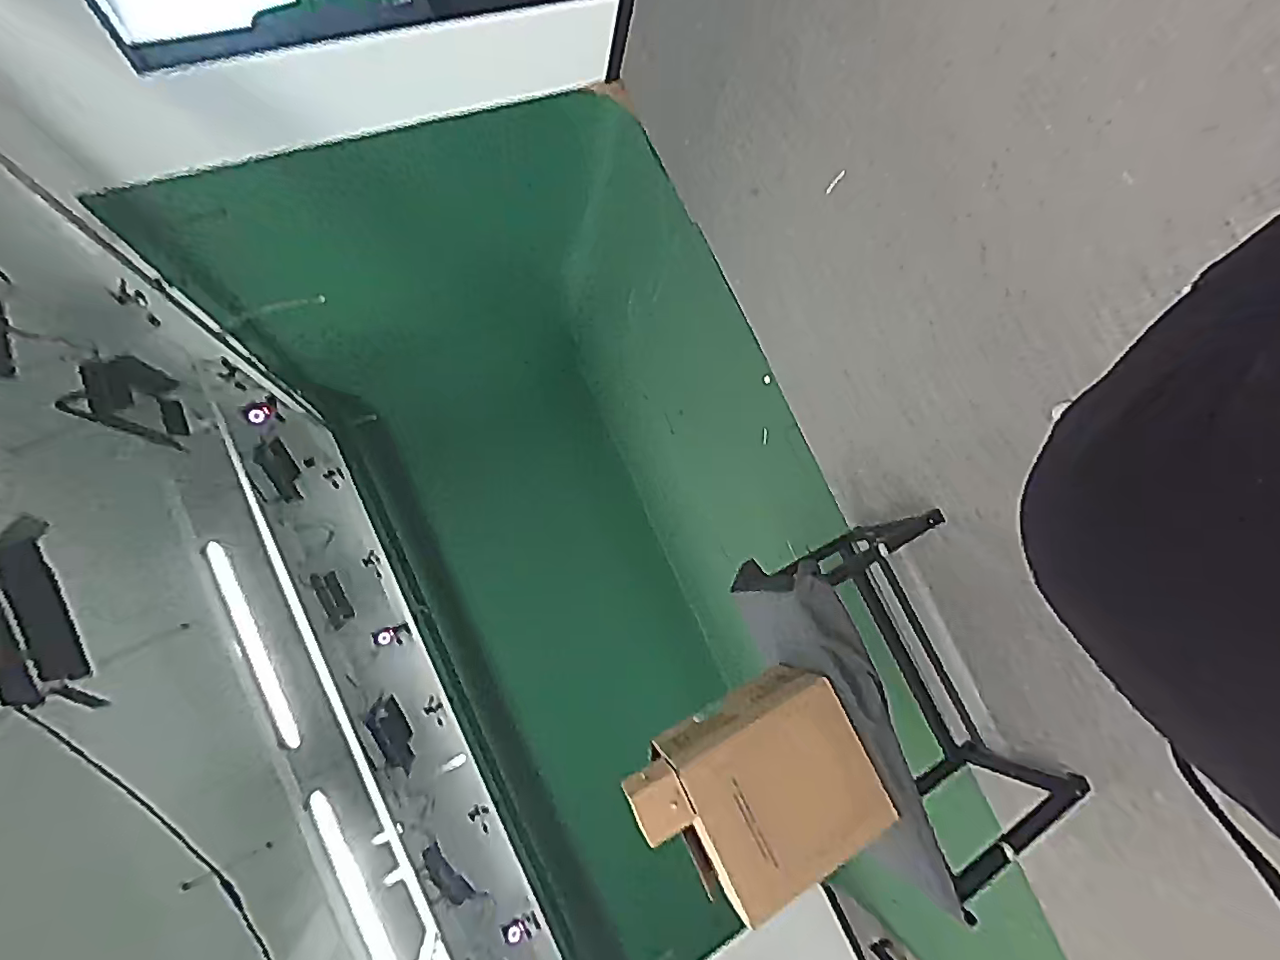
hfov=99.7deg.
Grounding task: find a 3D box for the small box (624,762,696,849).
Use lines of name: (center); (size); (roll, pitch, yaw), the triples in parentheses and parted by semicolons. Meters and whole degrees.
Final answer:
small box: (0.067, 1.070, 1.796); (0.168, 0.176, 0.179); (65, 163, 8)
